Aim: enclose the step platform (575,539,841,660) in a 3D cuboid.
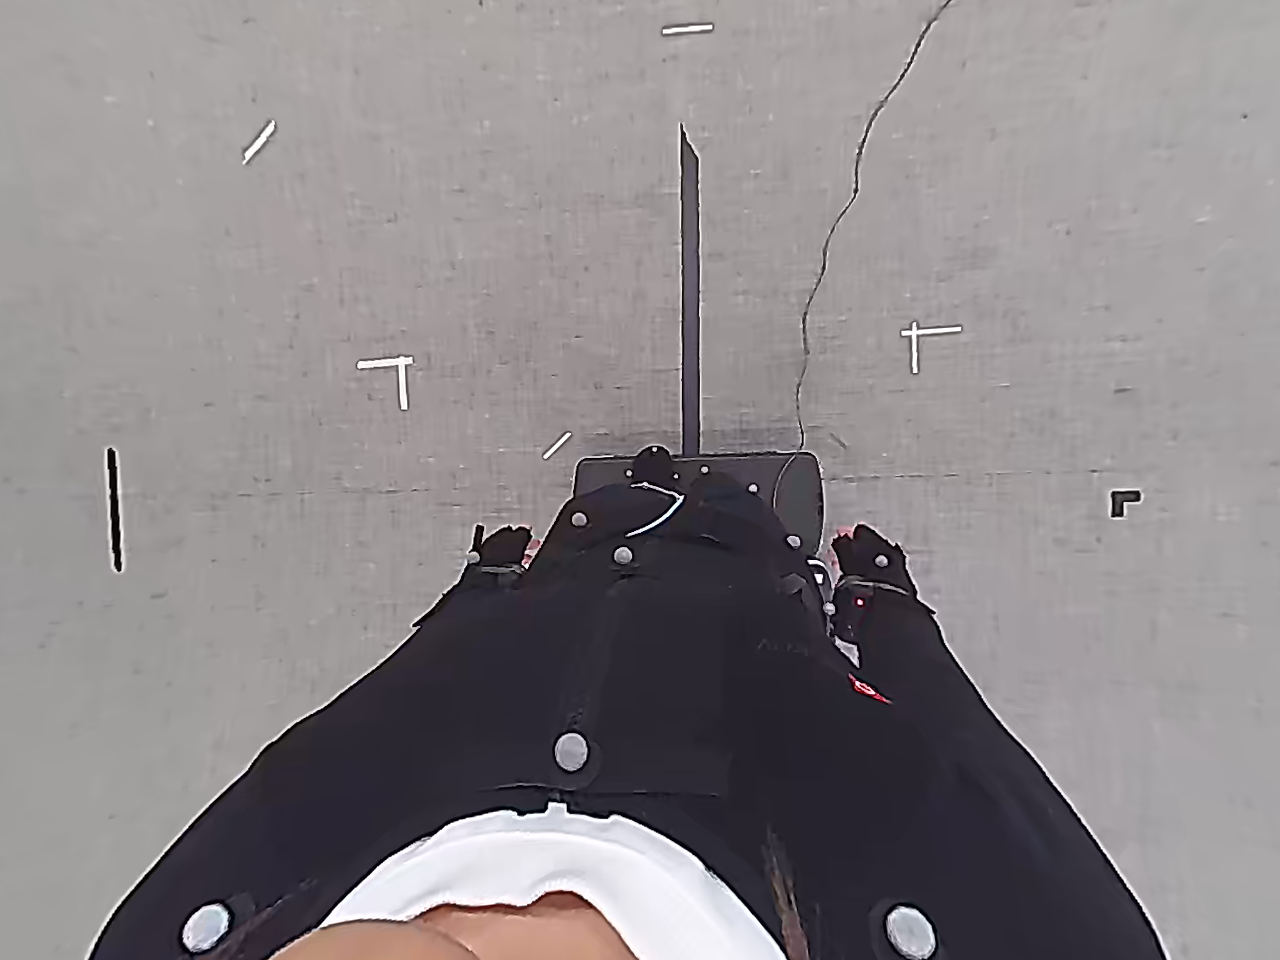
[{"bbox_3d":[0.171,0.315,1.440,0.684,0.204,0.286,-2,90,7],"label":"step platform"}]
